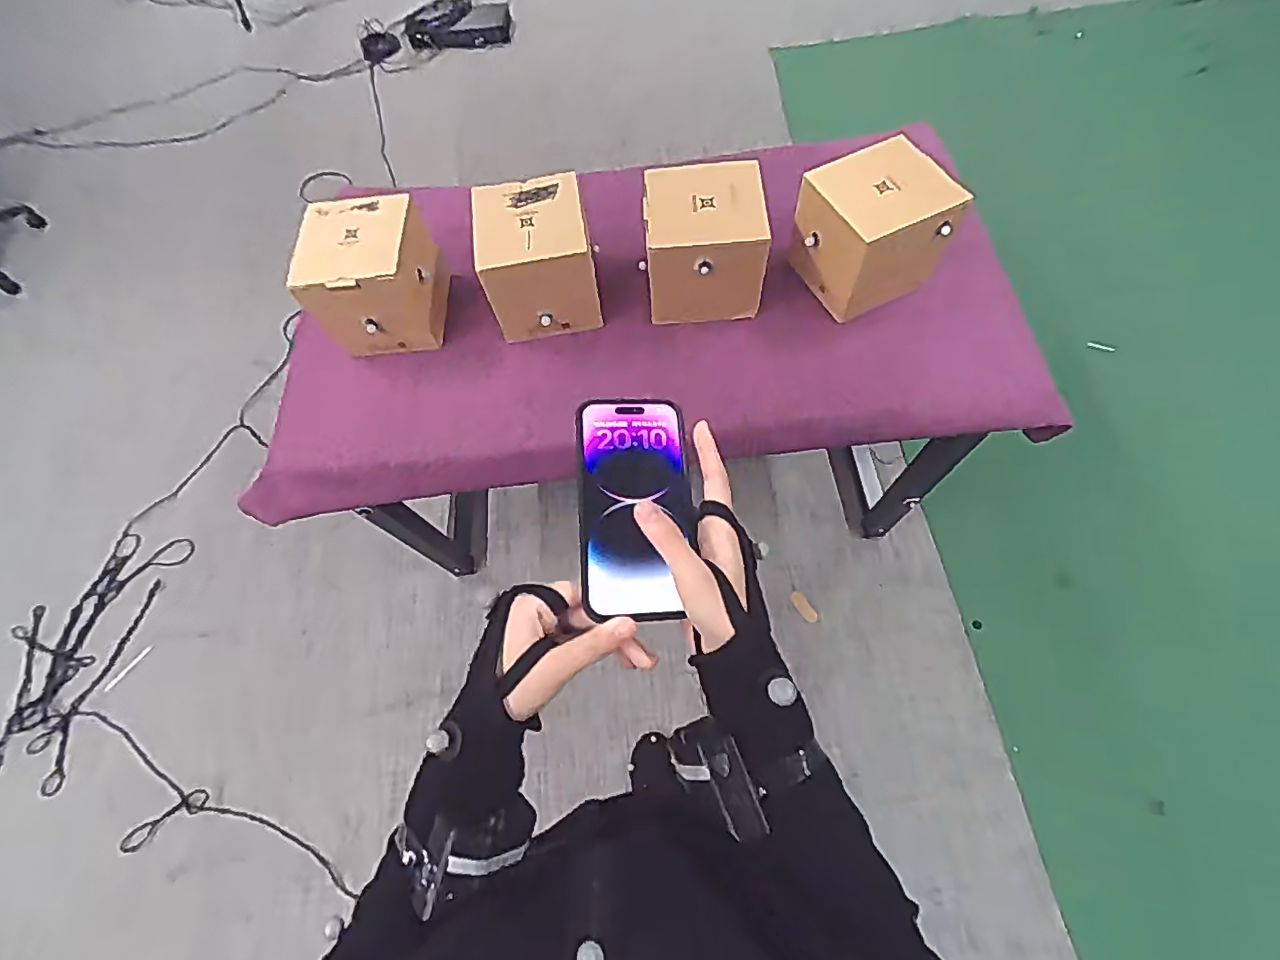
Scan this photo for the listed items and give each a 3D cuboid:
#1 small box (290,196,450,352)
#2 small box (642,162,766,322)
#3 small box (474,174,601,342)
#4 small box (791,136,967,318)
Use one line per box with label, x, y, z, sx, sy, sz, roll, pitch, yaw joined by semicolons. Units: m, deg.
small box;-0.428;-0.327;0.889;0.168;0.176;0.179;-5;66;3
small box;0.098;-0.371;0.865;0.179;0.176;0.168;-3;66;4
small box;-0.161;-0.354;0.878;0.168;0.176;0.179;-10;66;1
small box;0.355;-0.389;0.850;0.179;0.176;0.168;-25;65;-7
